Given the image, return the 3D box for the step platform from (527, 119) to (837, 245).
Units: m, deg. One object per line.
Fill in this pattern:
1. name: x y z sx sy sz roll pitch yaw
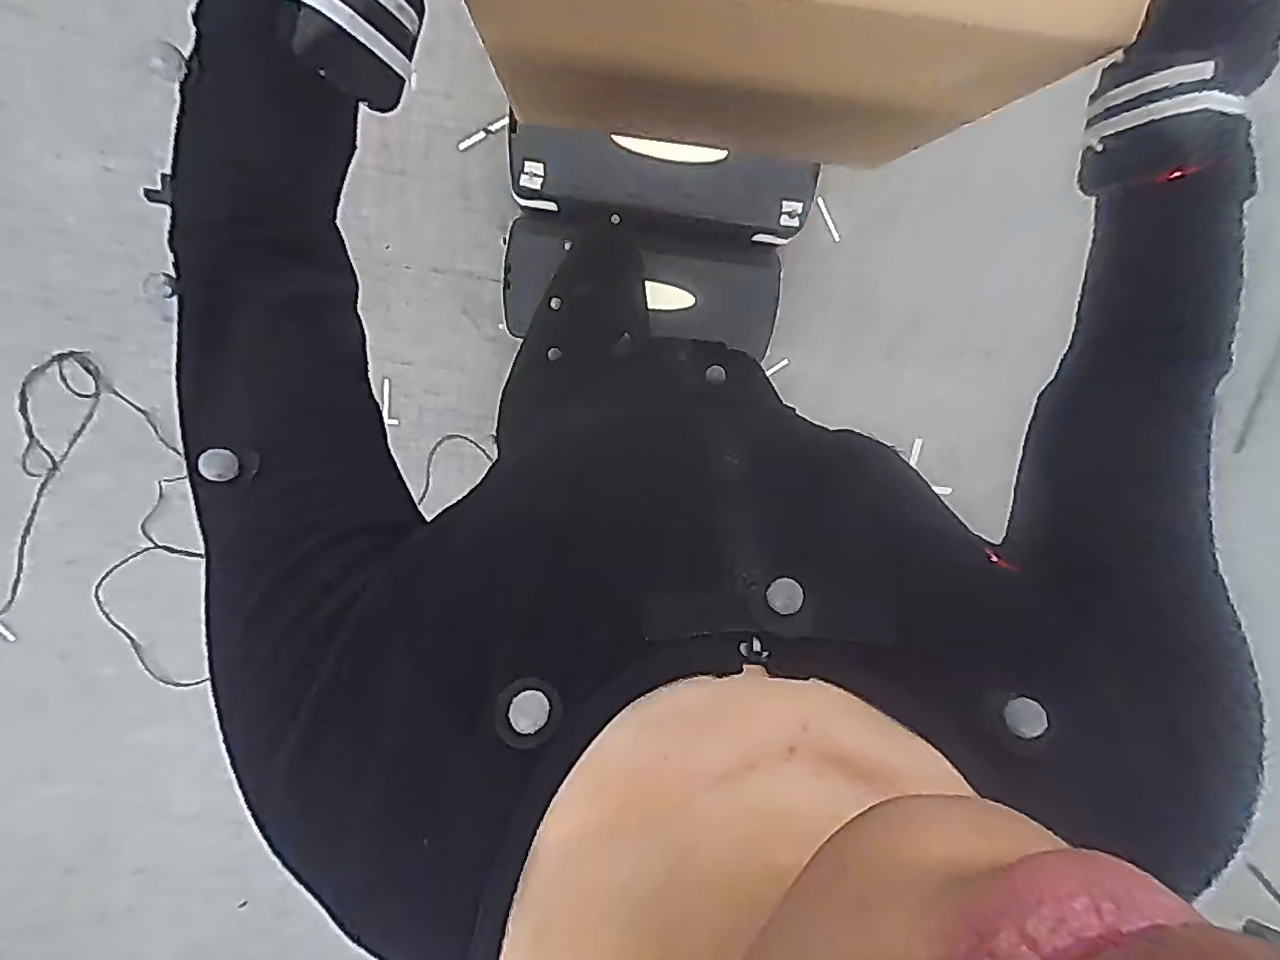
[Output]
1. step platform: 0.091 -0.734 1.227 0.684 0.204 0.286 5 105 -6

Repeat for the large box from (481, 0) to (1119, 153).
1. large box: 0.090 -0.476 0.409 0.408 0.320 0.320 3 108 -6
